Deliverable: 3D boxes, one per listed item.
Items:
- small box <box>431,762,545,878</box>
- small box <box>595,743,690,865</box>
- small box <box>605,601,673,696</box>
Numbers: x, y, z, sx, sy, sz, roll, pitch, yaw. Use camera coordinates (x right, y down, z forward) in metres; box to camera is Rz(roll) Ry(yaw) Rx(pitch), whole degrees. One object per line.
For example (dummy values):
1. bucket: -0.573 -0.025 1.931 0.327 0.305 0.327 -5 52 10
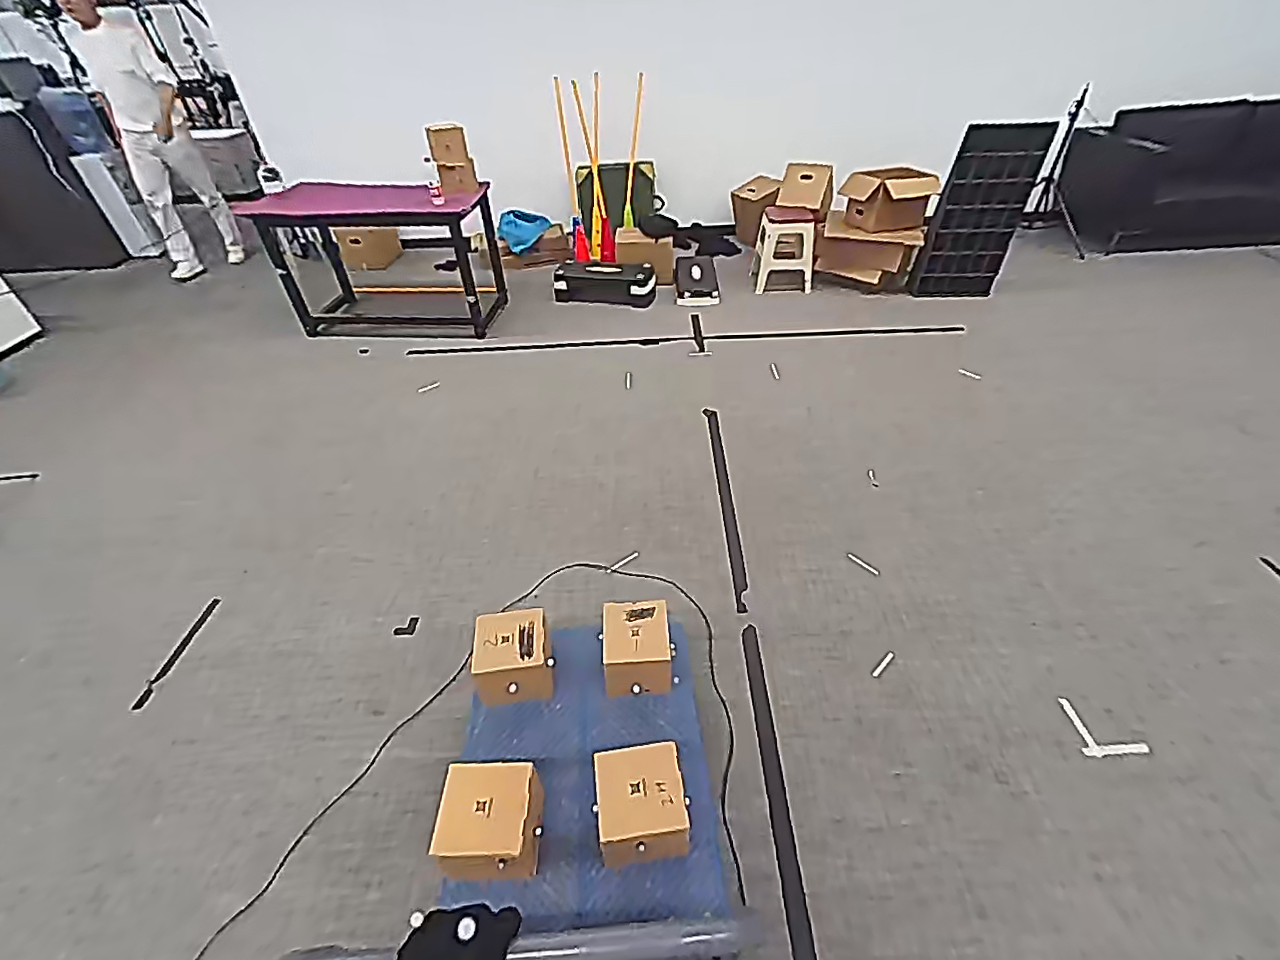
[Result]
1. small box: -0.303 0.703 1.116 0.179 0.176 0.168 -1 41 0
2. small box: 0.005 0.678 1.130 0.179 0.176 0.168 -6 41 -4
3. small box: -0.003 0.437 1.405 0.168 0.176 0.179 -3 42 0
